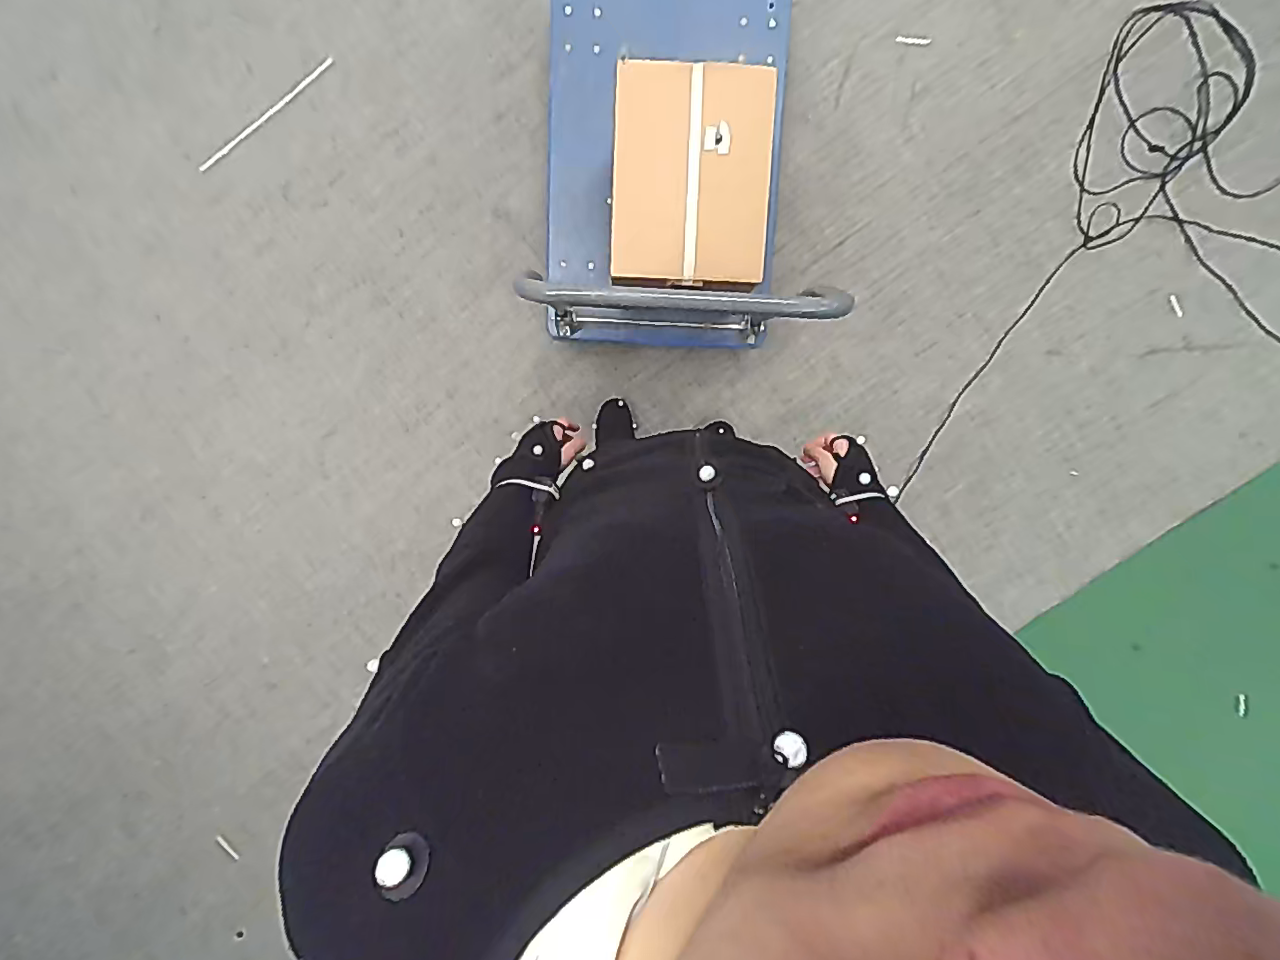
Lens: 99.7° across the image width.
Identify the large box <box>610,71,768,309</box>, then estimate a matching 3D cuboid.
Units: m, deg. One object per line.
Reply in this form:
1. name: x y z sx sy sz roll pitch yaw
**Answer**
1. large box: 0.095 -0.624 1.241 0.320 0.320 0.408 2 97 -3
